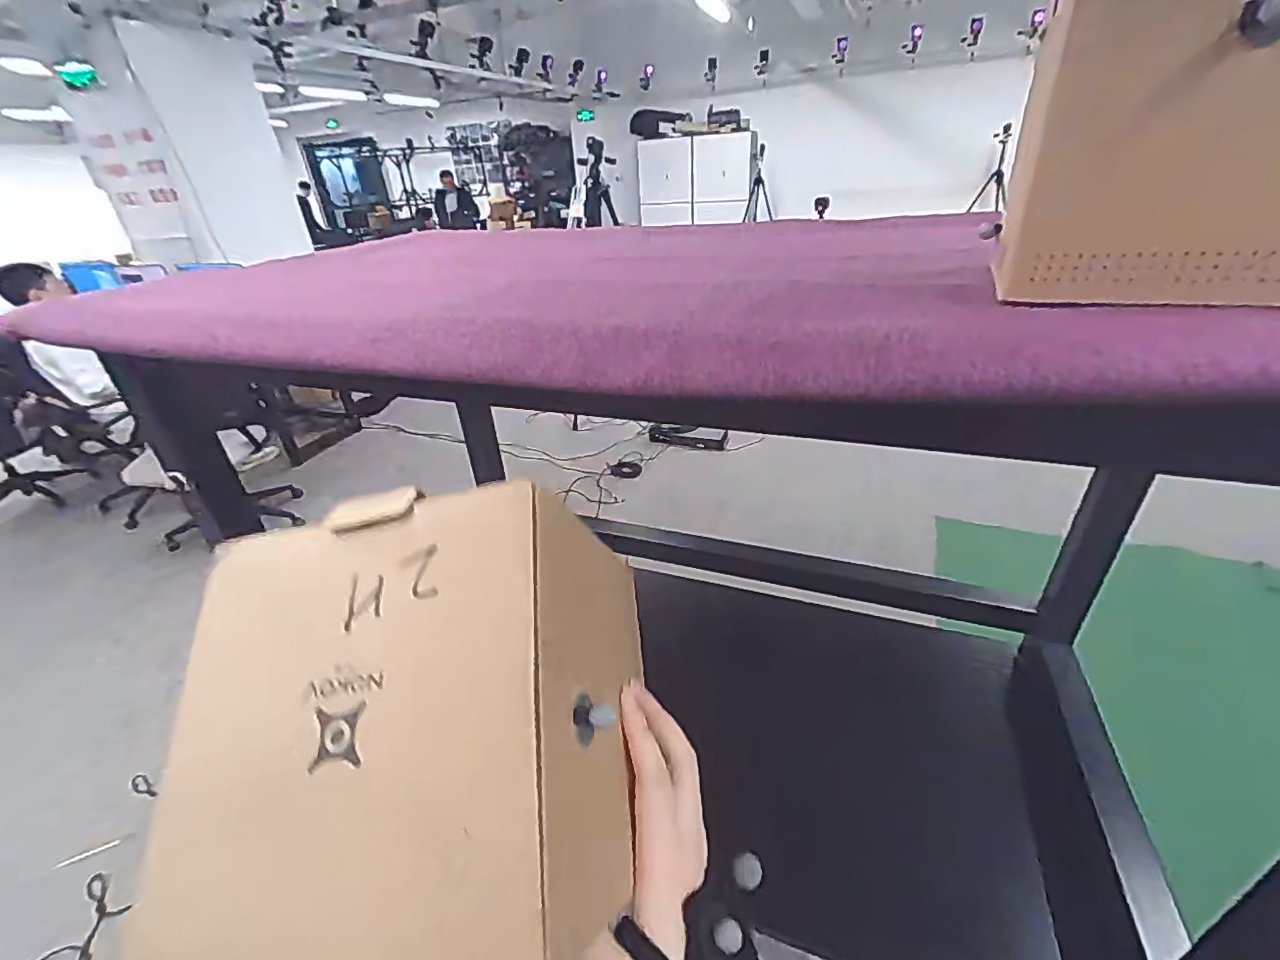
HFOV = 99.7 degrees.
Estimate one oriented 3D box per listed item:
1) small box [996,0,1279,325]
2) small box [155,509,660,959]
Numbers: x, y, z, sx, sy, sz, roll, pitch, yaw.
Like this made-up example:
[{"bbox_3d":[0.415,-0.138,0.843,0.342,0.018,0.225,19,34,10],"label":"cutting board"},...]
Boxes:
[{"bbox_3d":[0.324,-0.191,0.314,0.179,0.176,0.168,11,32,26],"label":"small box"},{"bbox_3d":[-0.091,0.137,0.291,0.168,0.176,0.179,-11,63,10],"label":"small box"}]
